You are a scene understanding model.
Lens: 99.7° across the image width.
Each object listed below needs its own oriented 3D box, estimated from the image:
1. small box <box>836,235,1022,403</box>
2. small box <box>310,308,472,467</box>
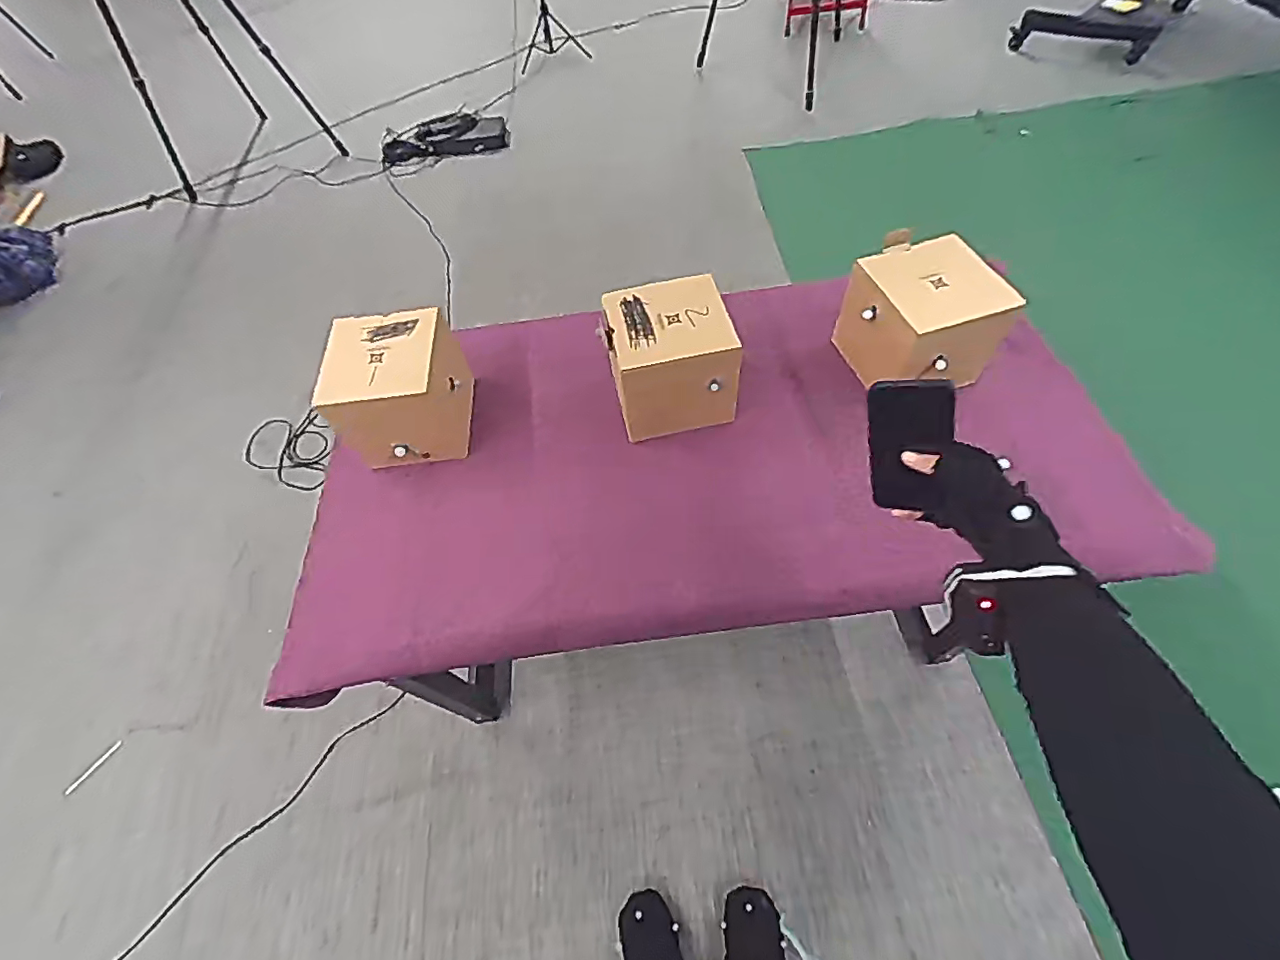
[{"bbox_3d":[0.433,-0.241,0.846,0.168,0.176,0.179,-17,58,-4],"label":"small box"},{"bbox_3d":[-0.376,-0.143,0.855,0.168,0.176,0.179,-7,60,1],"label":"small box"}]
